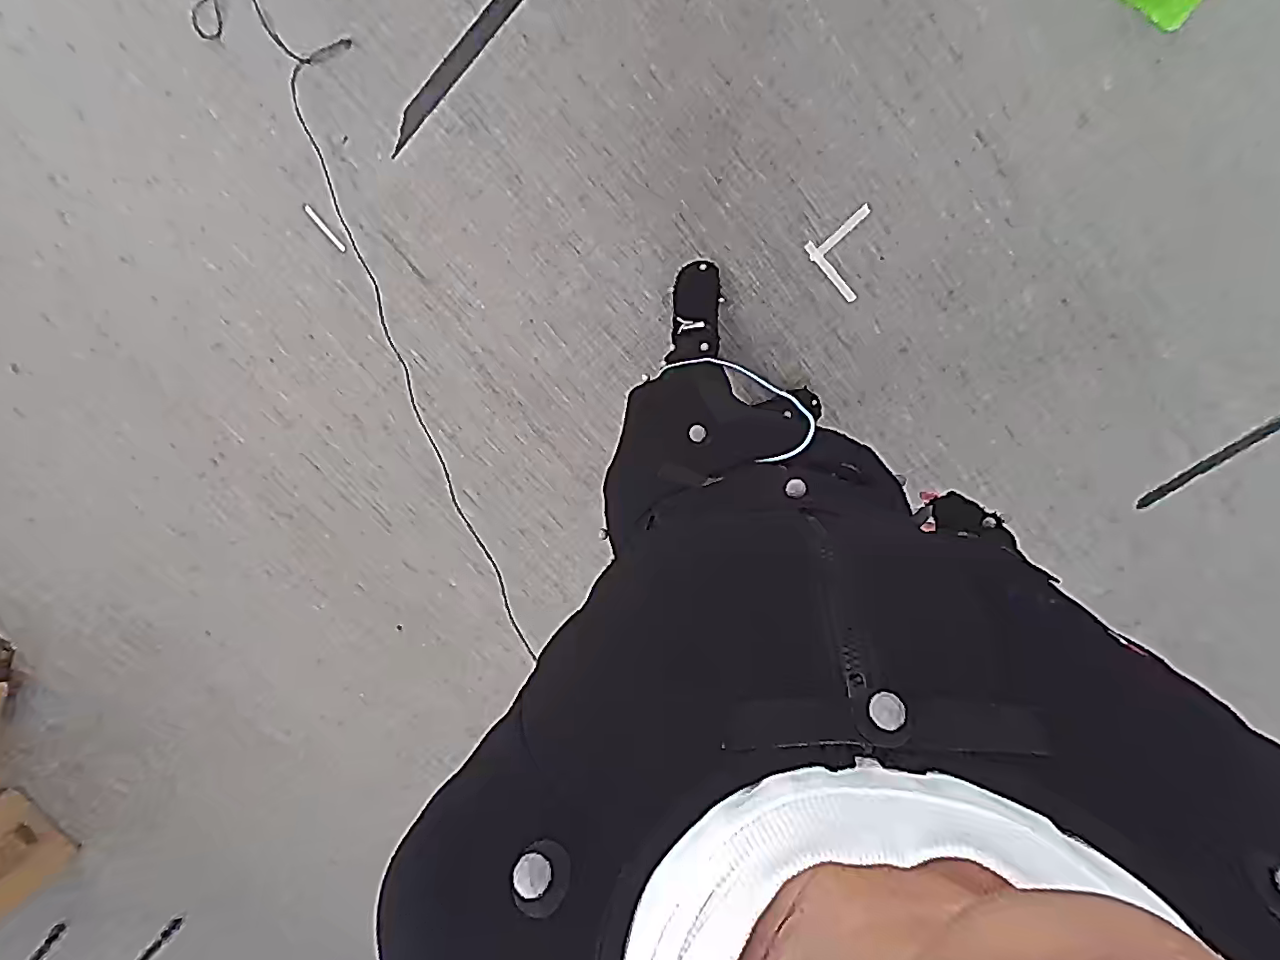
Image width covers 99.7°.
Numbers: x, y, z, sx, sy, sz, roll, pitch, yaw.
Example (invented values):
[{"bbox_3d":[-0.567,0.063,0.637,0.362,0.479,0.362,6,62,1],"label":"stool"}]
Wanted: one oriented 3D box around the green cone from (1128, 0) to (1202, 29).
[{"bbox_3d":[0.985,-0.946,0.852,0.200,0.368,0.202,34,110,-3],"label":"green cone"}]
